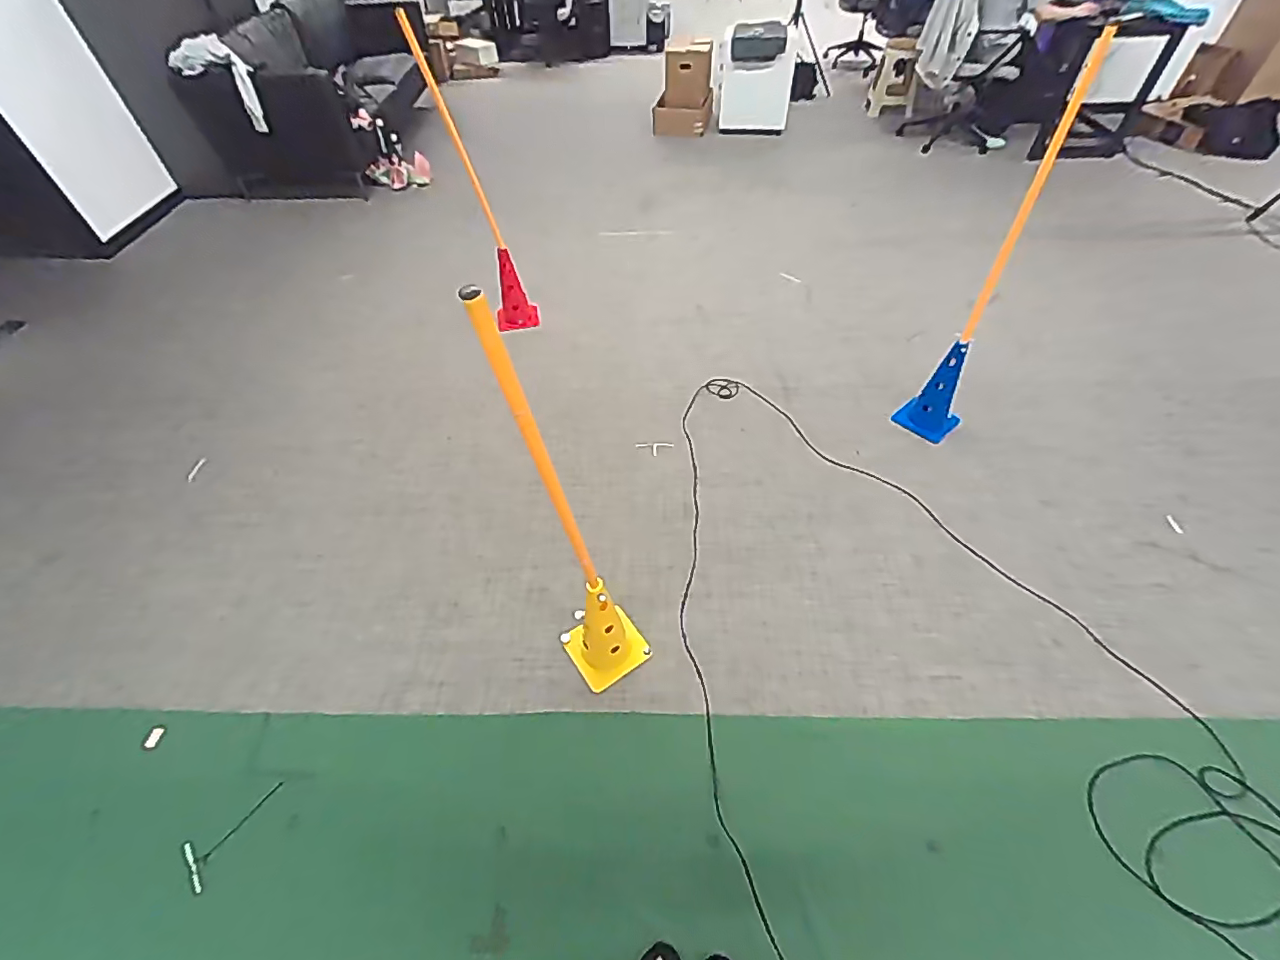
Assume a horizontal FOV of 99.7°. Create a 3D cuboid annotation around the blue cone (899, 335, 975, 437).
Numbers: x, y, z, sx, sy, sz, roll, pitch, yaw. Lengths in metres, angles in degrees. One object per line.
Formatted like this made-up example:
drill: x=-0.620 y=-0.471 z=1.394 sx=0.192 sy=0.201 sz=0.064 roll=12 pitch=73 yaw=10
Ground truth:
blue cone: x=1.114 y=-0.361 z=1.973 sx=0.193 sy=0.380 sz=0.192 roll=-36 pitch=56 yaw=-27
